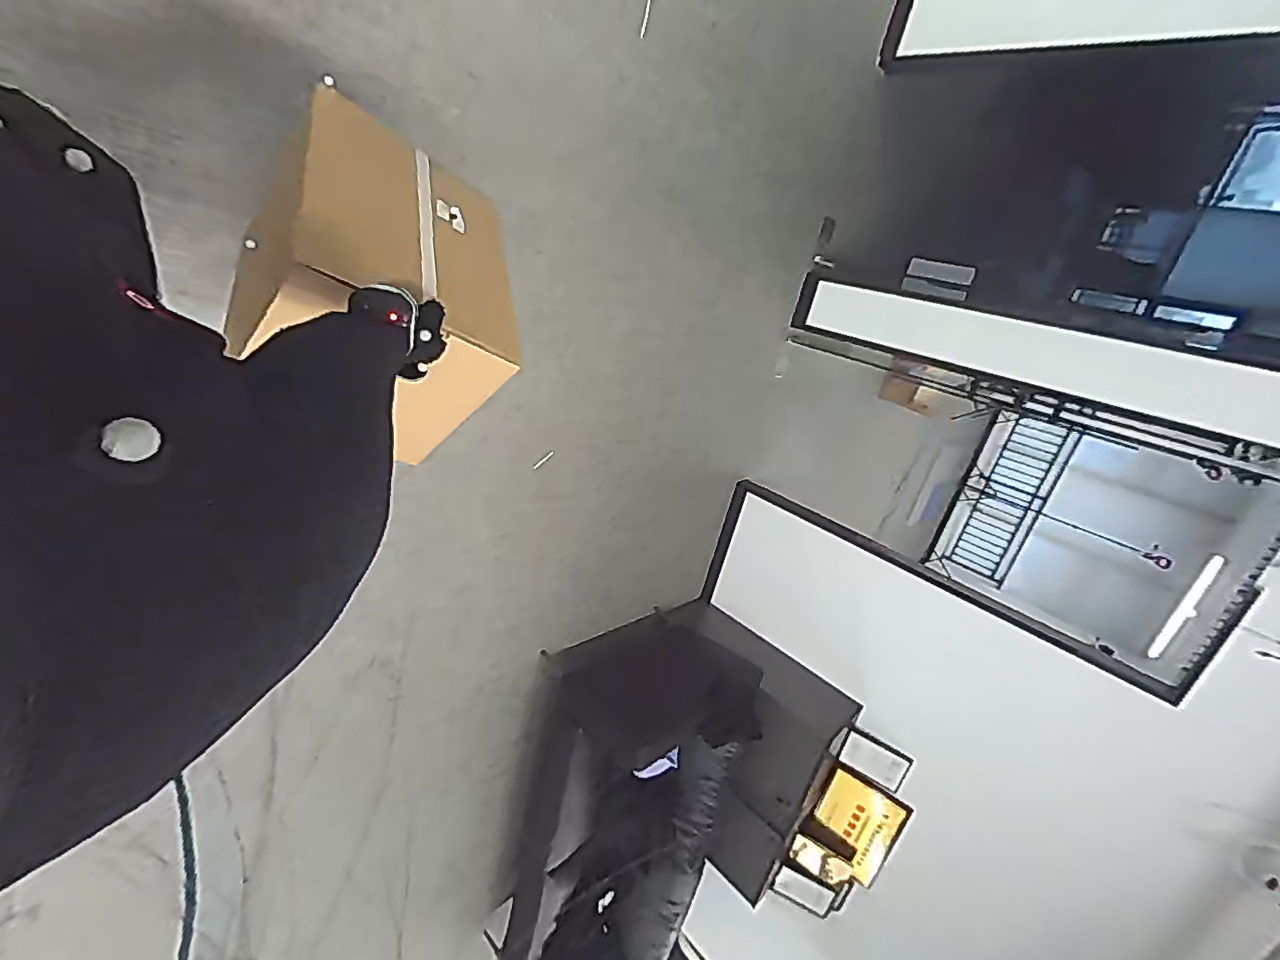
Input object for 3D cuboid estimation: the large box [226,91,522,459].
[{"bbox_3d":[-0.432,-0.301,0.887,0.320,0.408,0.320,-33,147,30],"label":"large box"}]
